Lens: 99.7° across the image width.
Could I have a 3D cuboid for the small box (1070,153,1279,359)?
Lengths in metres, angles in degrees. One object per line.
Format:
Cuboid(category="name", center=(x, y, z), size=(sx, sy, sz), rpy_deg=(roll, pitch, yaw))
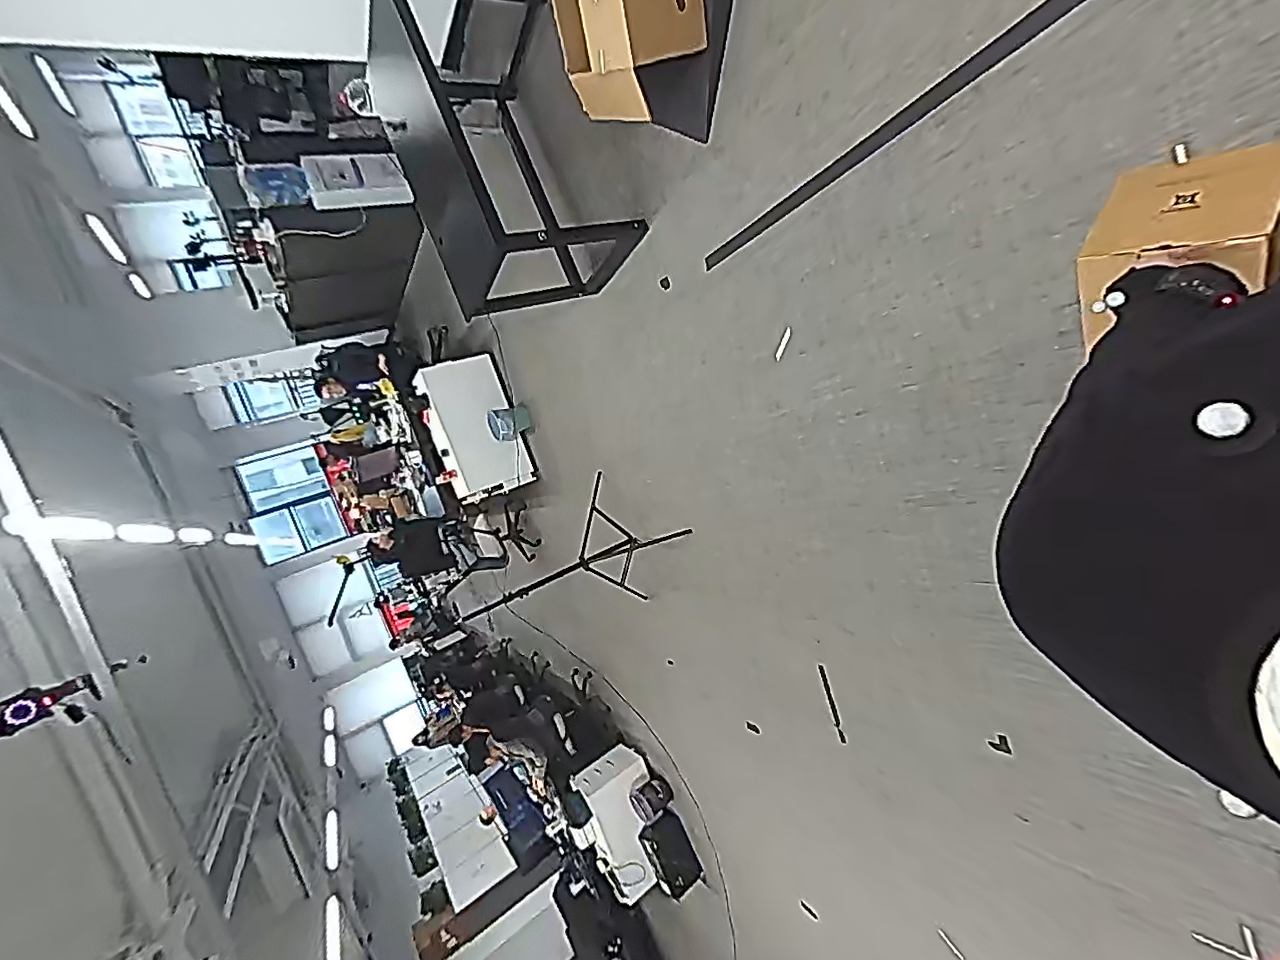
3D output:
Cuboid(category="small box", center=(0.693, -0.273, 0.698), size=(0.168, 0.179, 0.176), rpy_deg=(17, 153, 50))
